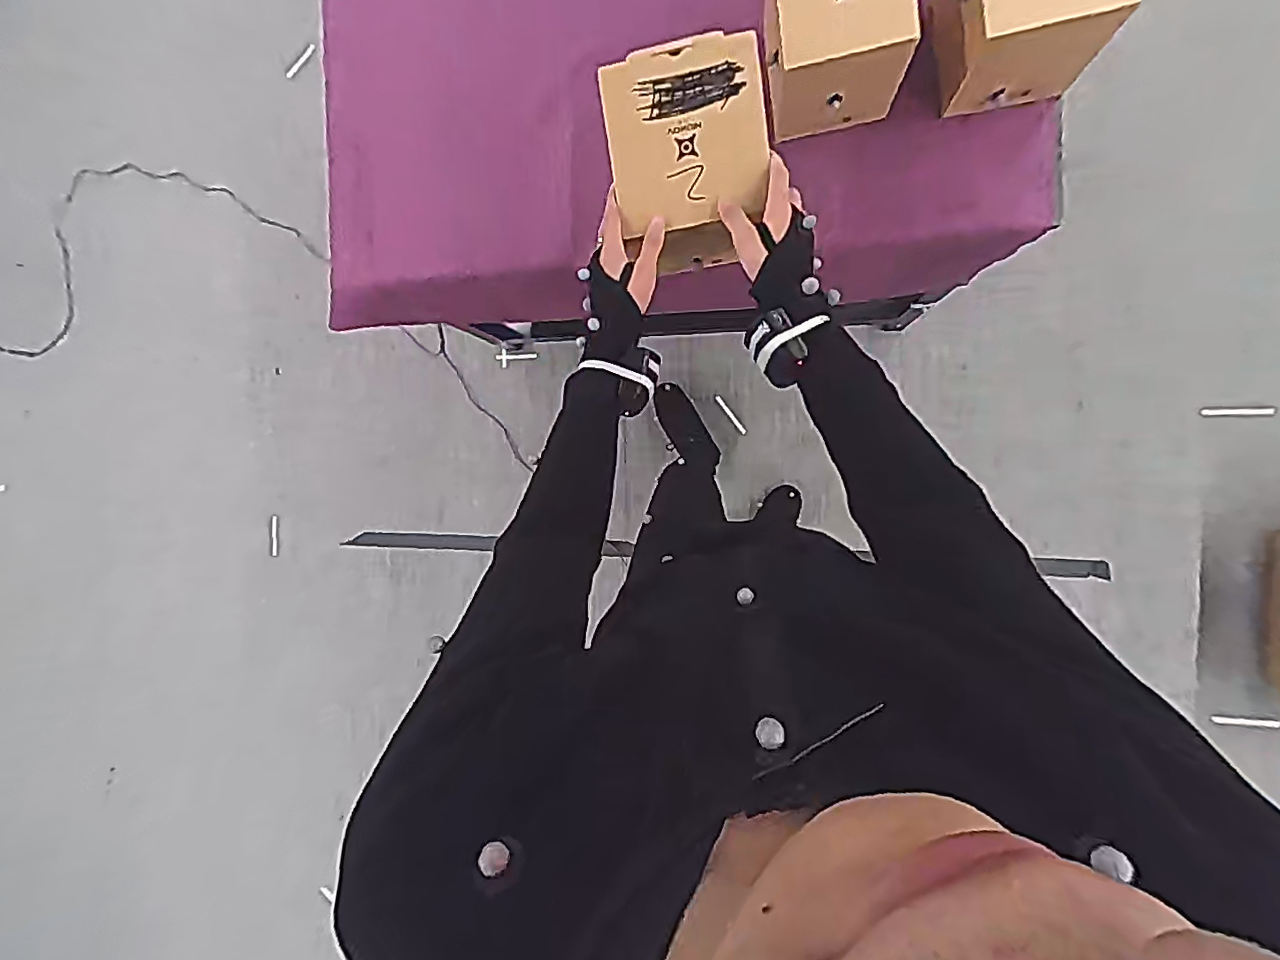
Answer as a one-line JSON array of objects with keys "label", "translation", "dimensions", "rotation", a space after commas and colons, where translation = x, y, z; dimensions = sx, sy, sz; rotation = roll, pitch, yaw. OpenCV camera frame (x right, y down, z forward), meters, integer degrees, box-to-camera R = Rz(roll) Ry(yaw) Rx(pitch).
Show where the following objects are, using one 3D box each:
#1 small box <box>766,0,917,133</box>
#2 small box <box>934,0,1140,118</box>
[{"label": "small box", "translation": [0.270, -0.623, 0.757], "dimensions": [0.168, 0.176, 0.179], "rotation": [-7, 91, 11]}, {"label": "small box", "translation": [0.504, -0.629, 0.713], "dimensions": [0.168, 0.176, 0.179], "rotation": [-5, 91, 12]}]
